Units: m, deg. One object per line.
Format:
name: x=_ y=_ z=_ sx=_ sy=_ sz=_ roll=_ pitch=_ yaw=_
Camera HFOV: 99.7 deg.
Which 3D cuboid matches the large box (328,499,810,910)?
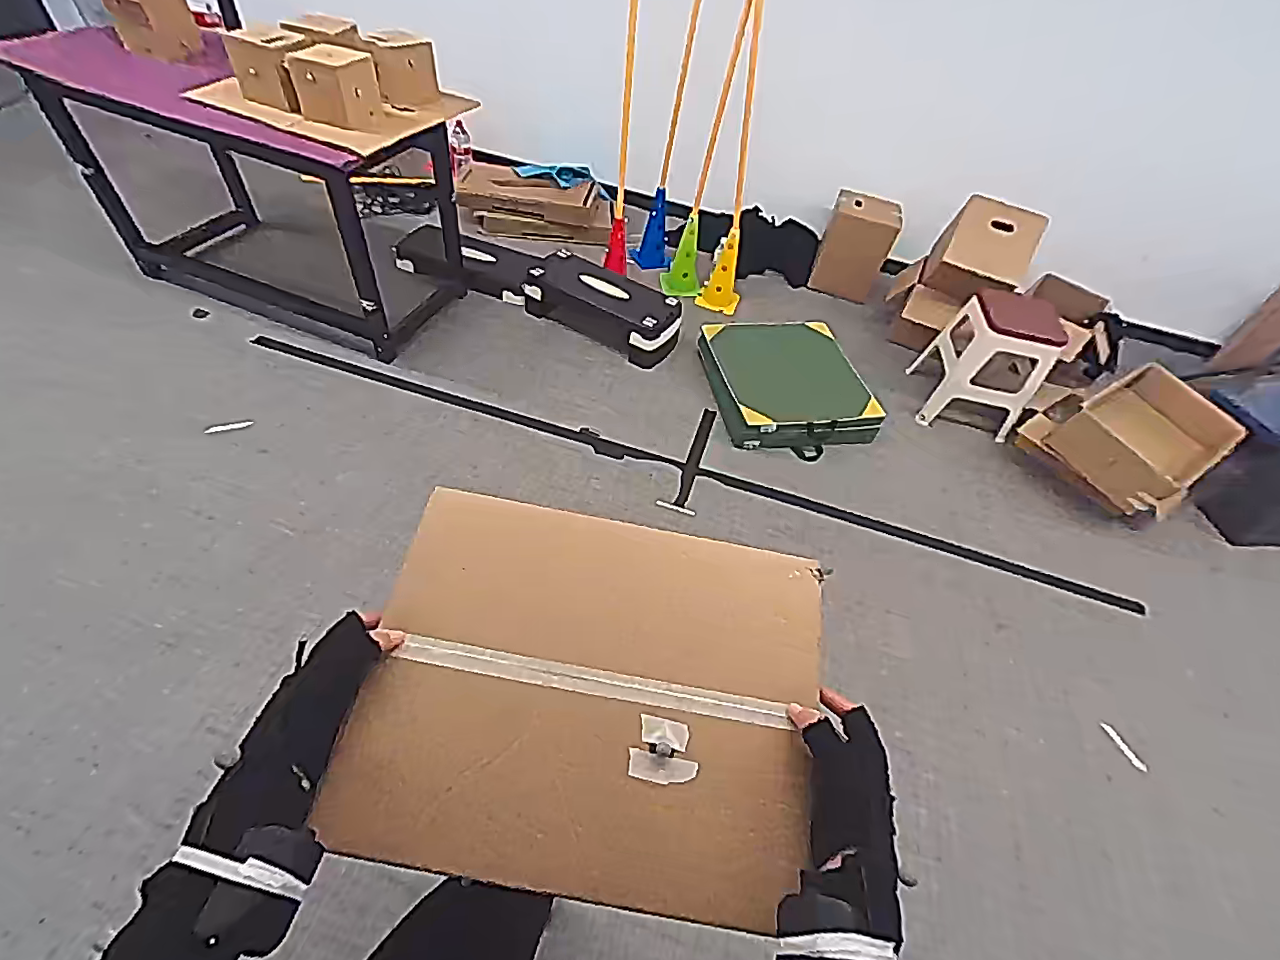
large box: x=-0.053 y=0.253 z=0.636 sx=0.408 sy=0.320 sz=0.320 roll=11 pitch=63 yaw=-1
